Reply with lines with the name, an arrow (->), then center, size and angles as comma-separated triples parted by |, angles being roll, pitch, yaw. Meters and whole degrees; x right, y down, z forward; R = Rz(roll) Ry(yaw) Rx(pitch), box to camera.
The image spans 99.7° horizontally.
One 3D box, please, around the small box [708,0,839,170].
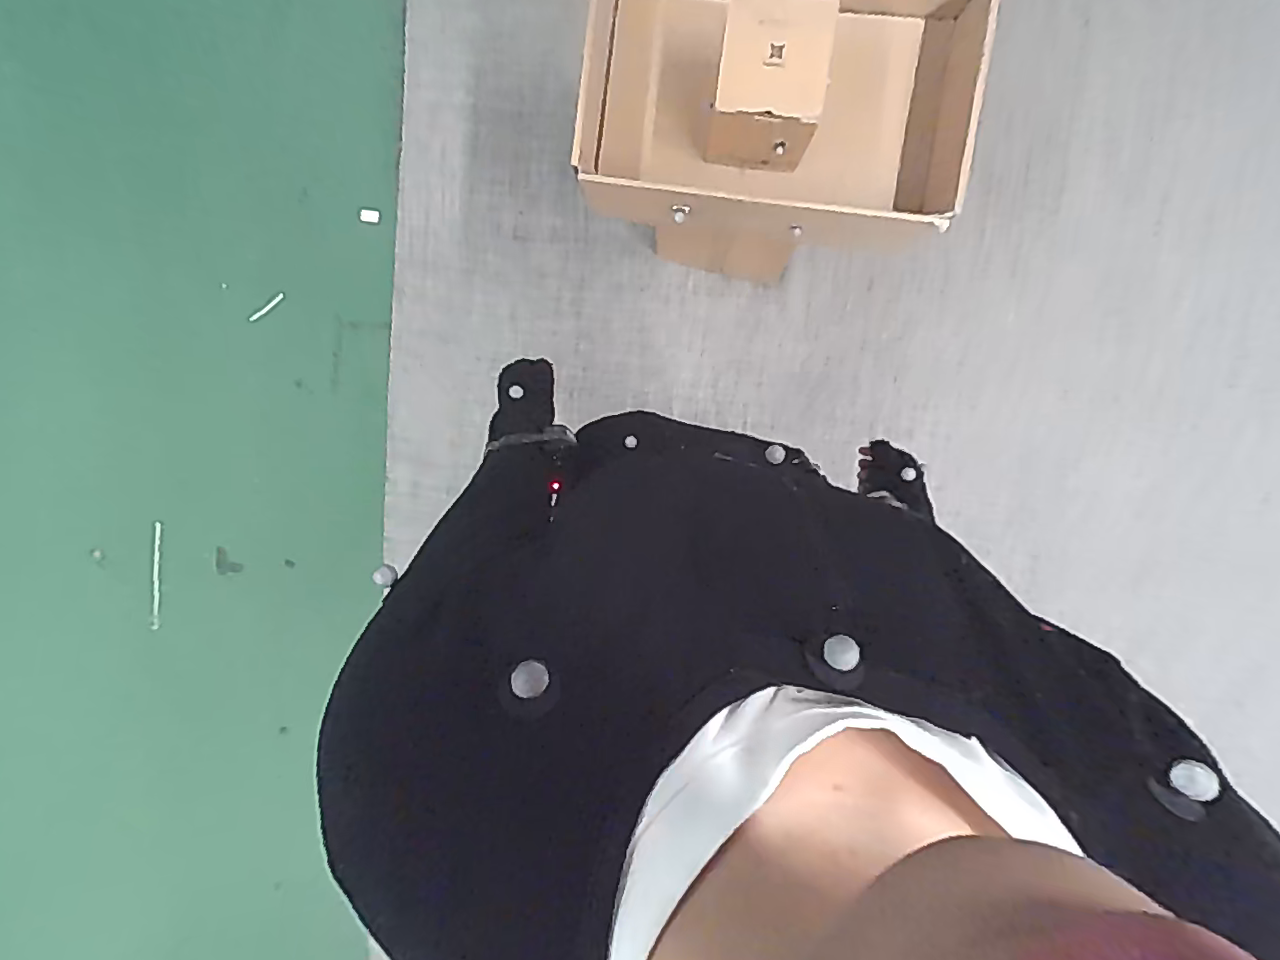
small box -> 0.209, -0.644, 0.892 | 0.168, 0.176, 0.179 | 7, 93, 0
